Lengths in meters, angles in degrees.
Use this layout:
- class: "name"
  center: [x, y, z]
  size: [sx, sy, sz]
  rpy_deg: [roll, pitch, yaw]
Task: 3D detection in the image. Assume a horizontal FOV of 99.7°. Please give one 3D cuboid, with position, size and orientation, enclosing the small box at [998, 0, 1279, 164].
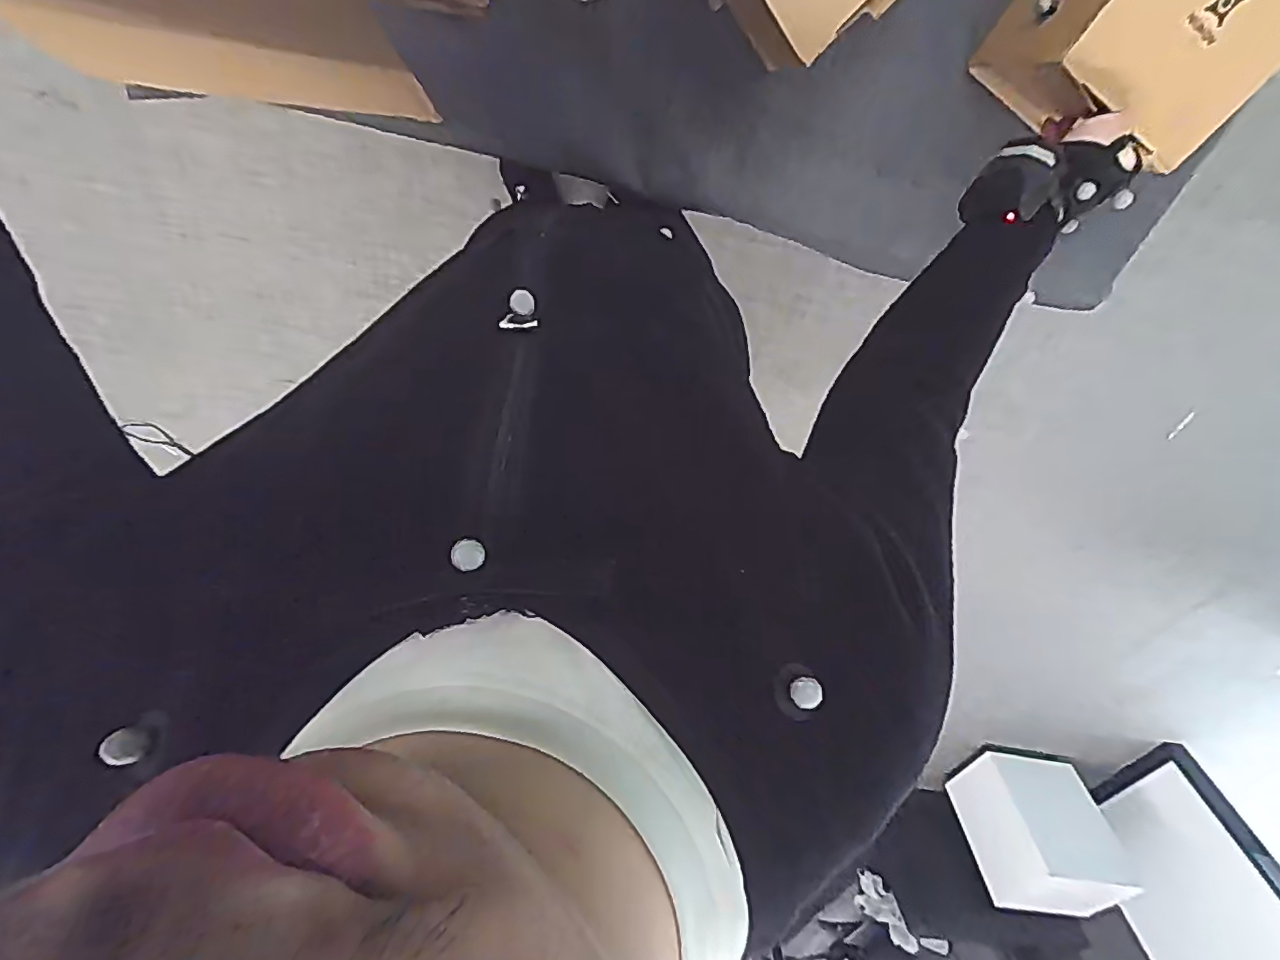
- class: "small box"
  center: [0.470, -0.427, 0.490]
  size: [0.168, 0.176, 0.179]
  rpy_deg: [24, 124, -17]

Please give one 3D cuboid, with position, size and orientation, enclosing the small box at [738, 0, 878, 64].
- class: "small box"
  center: [0.149, -0.496, 0.450]
  size: [0.168, 0.176, 0.179]
  rpy_deg: [-37, 118, 26]
